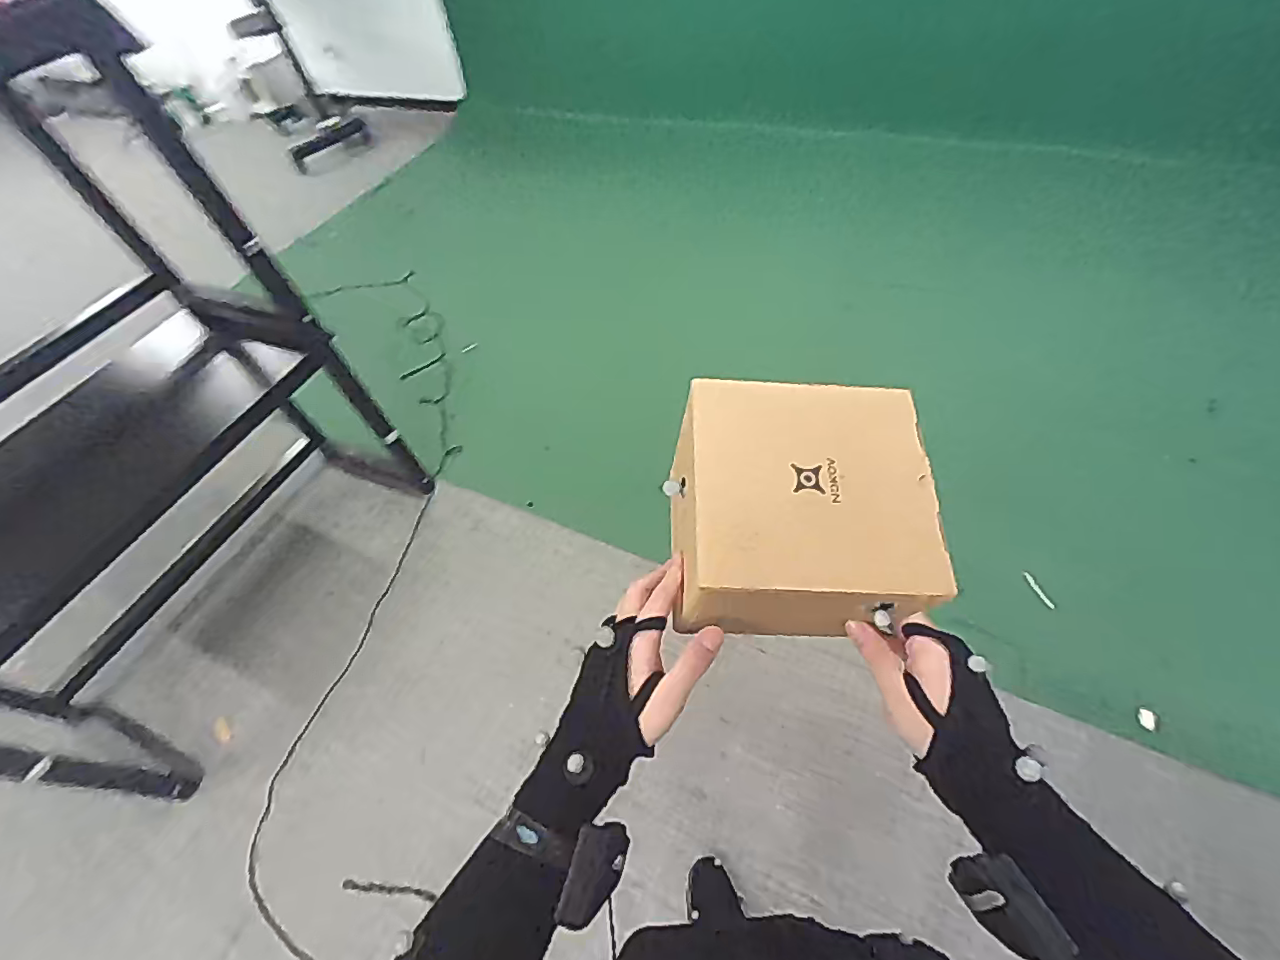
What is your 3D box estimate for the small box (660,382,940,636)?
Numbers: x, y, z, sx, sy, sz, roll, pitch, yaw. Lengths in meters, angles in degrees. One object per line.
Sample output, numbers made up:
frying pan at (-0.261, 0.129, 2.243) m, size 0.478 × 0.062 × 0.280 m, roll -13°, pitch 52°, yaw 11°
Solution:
small box at (0.109, 0.035, 0.460) m, size 0.179 × 0.176 × 0.168 m, roll 2°, pitch 64°, yaw -4°
